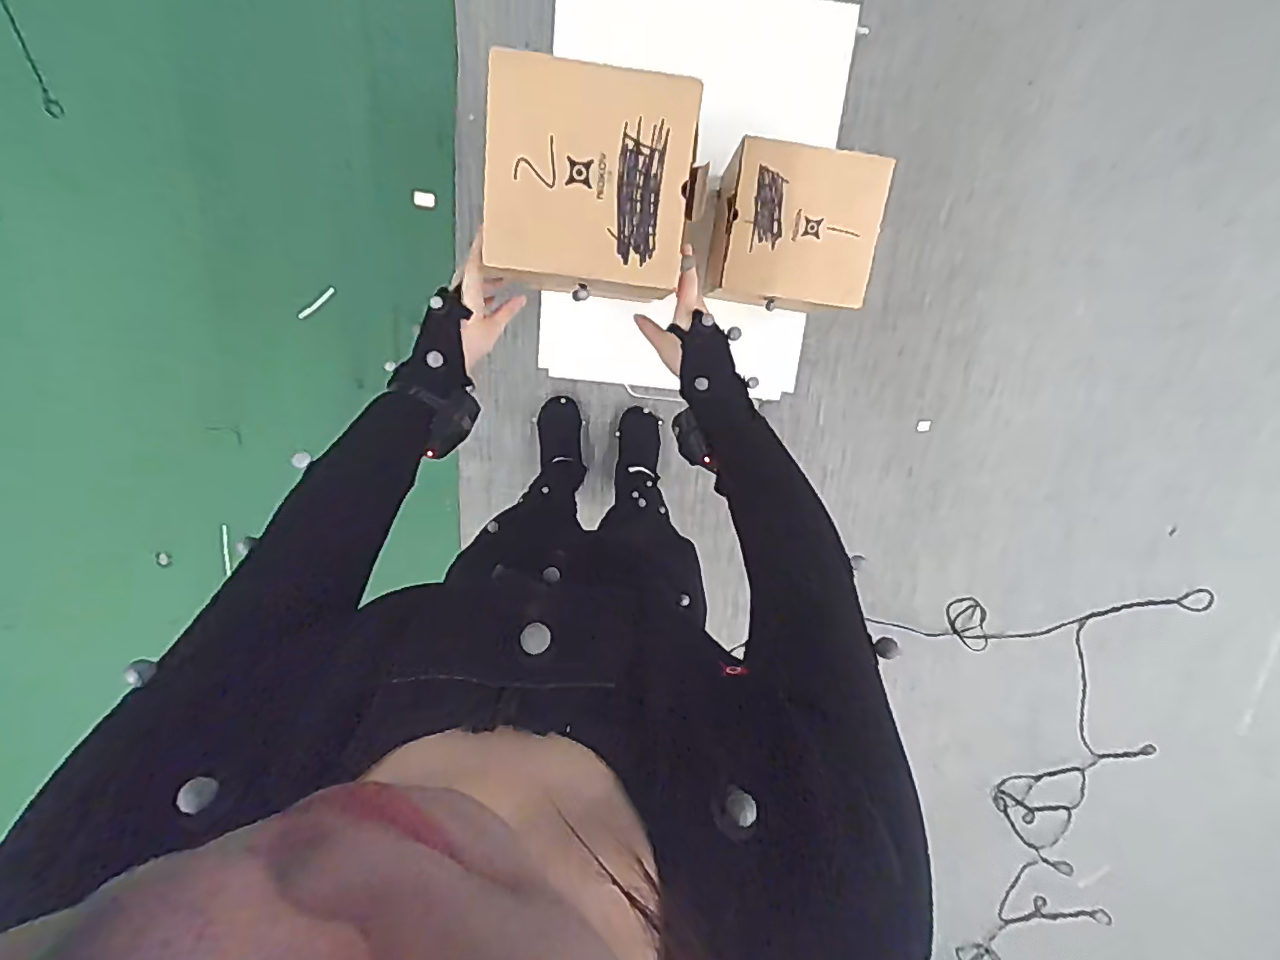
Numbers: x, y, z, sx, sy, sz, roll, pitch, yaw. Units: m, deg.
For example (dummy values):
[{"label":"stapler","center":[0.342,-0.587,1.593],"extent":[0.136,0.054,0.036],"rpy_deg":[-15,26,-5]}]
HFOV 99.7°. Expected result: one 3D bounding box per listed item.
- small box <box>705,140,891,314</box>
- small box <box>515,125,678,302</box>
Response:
[{"label":"small box","center":[0.189,-0.314,0.709],"extent":[0.179,0.176,0.168],"rpy_deg":[7,105,-4]},{"label":"small box","center":[-0.055,-0.326,0.697],"extent":[0.179,0.176,0.168],"rpy_deg":[5,106,-4]}]
